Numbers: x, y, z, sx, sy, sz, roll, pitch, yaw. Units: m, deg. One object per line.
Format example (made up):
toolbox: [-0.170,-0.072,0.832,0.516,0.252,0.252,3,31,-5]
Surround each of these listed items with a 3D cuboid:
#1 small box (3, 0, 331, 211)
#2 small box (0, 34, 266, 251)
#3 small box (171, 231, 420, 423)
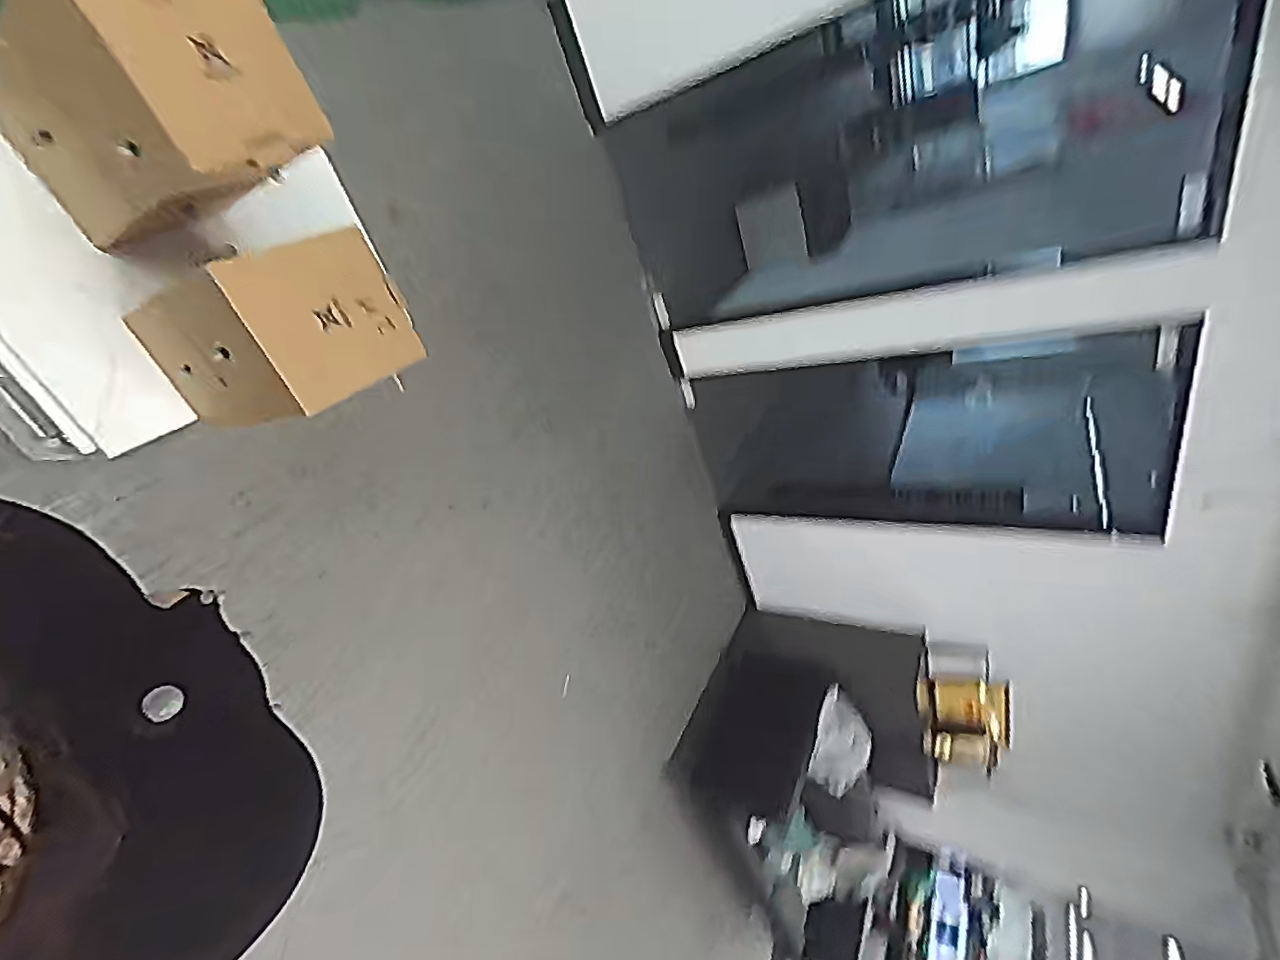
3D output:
small box: [-0.480,-0.401,0.564,0.168,0.176,0.179,-55,134,-40]
small box: [-0.617,-0.404,0.654,0.168,0.176,0.179,-52,133,-40]
small box: [-0.417,-0.179,0.657,0.179,0.176,0.168,-49,129,-43]
